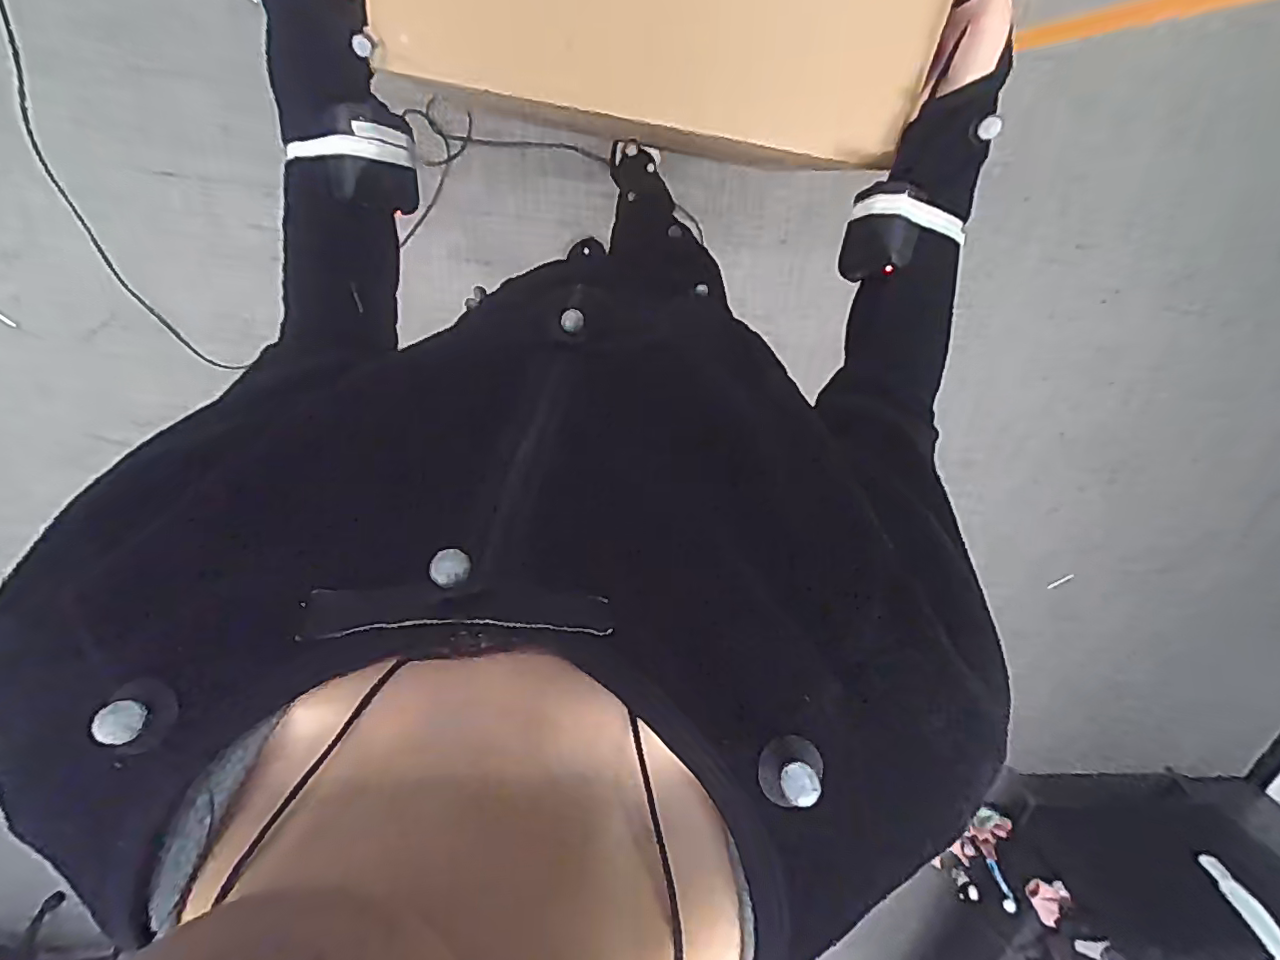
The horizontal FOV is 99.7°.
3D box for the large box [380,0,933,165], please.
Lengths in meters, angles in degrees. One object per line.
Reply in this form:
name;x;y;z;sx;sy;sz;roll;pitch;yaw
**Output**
large box;0.019;-0.485;0.480;0.408;0.320;0.320;5;118;-9
